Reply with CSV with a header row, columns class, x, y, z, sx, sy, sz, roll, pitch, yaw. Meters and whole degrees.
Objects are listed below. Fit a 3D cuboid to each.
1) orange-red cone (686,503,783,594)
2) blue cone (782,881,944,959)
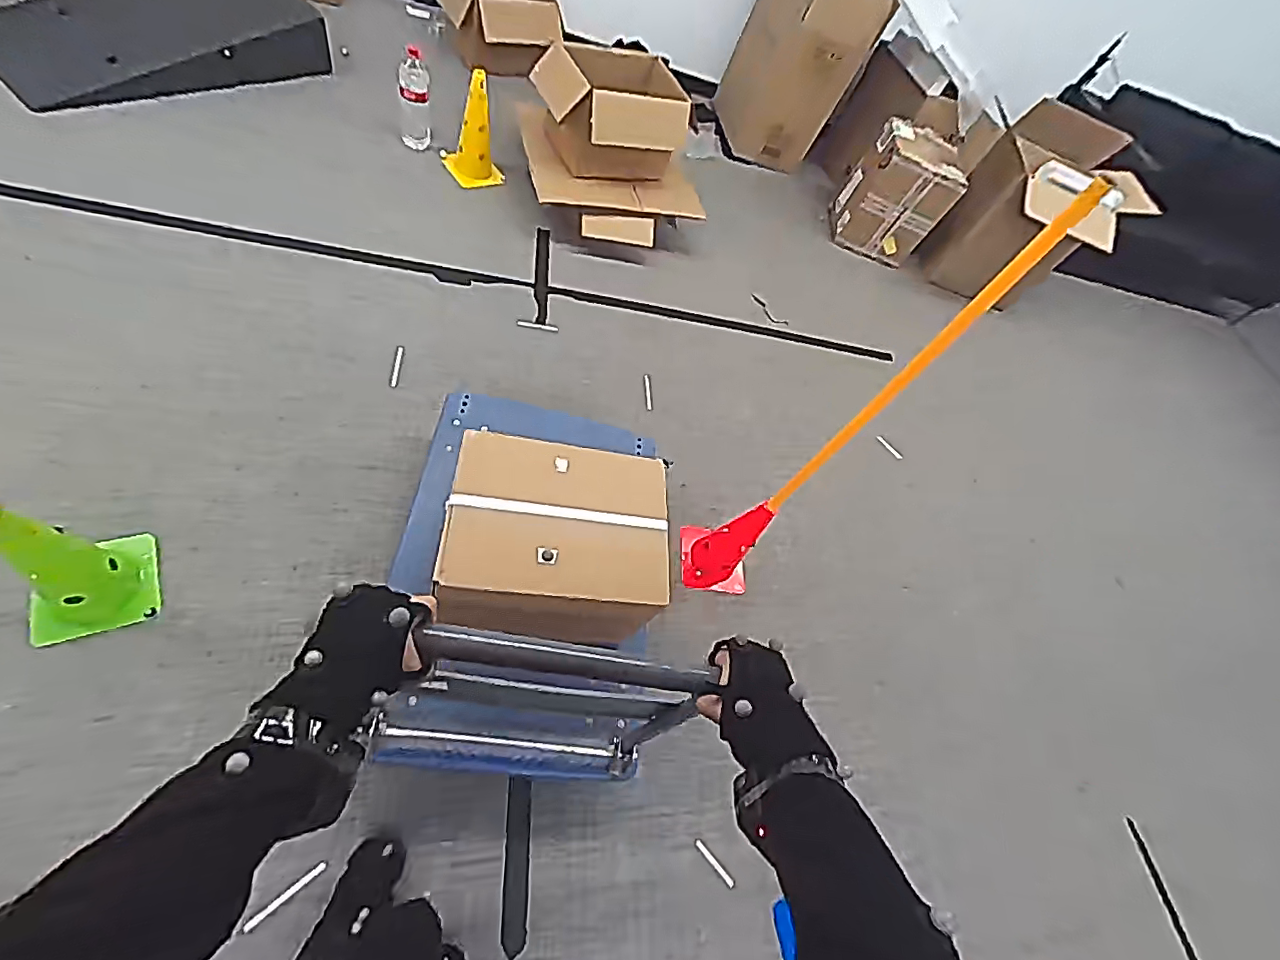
class,x,y,z,sx,sy,sz,roll,pitch,yaw
orange-red cone,0.286,0.155,1.481,0.199,0.360,0.198,12,58,-15
blue cone,0.469,0.956,1.087,0.193,0.380,0.192,2,59,-20
